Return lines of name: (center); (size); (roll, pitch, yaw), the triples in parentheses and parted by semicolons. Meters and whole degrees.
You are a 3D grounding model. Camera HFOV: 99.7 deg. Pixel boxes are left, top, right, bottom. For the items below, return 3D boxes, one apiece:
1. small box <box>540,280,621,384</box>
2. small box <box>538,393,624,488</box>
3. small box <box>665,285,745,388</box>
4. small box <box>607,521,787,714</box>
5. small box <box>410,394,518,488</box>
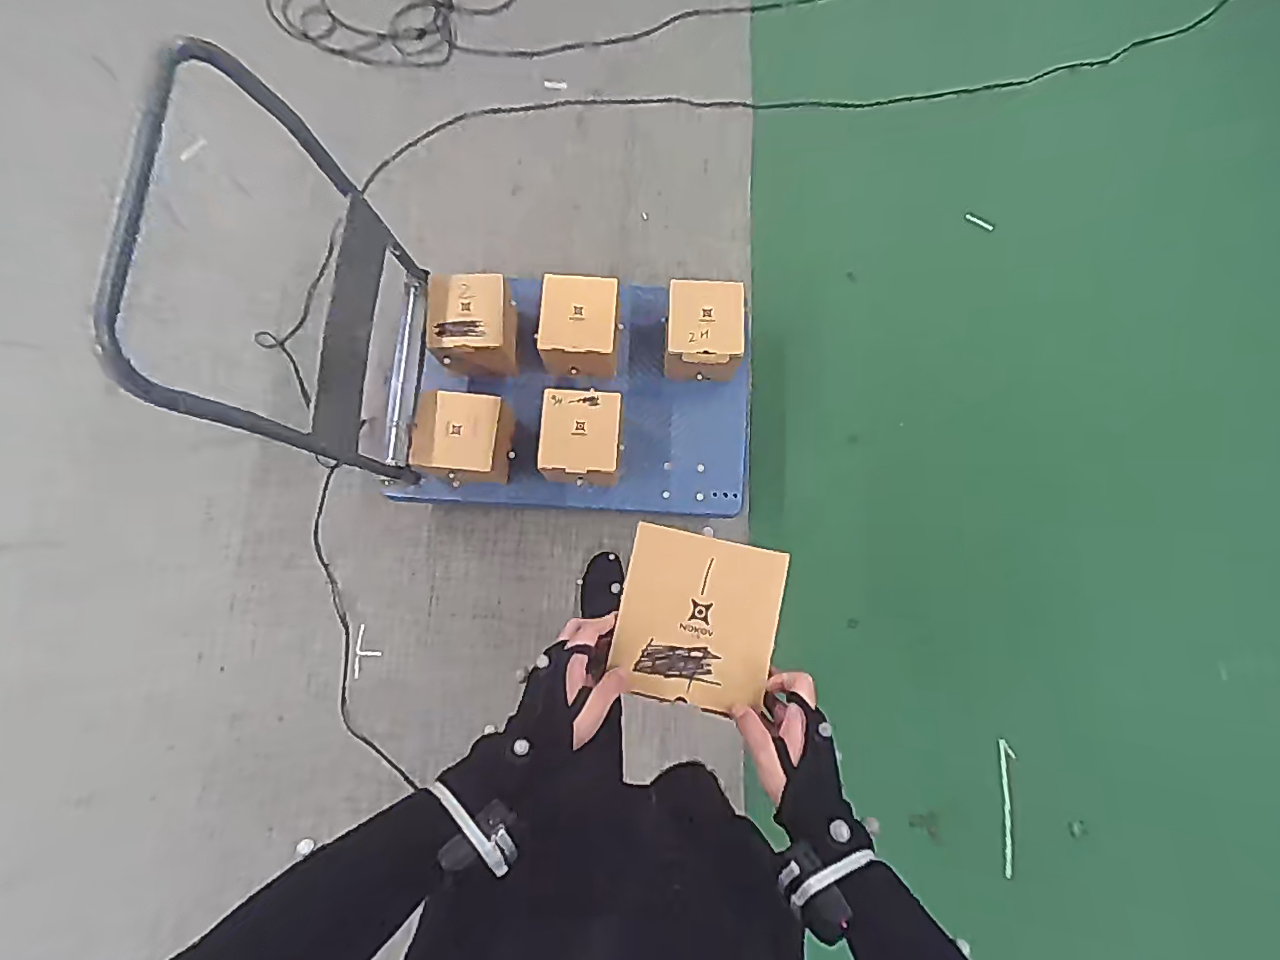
small box: (-0.133, -0.341, 1.264); (0.168, 0.176, 0.179); (4, 82, -1)
small box: (-0.126, -0.080, 1.216); (0.168, 0.176, 0.179); (5, 80, -1)
small box: (0.147, -0.330, 1.263); (0.168, 0.176, 0.179); (2, 80, 1)
small box: (0.063, 0.157, 0.661); (0.168, 0.176, 0.179); (13, 81, 0)
small box: (-0.386, -0.081, 1.213); (0.179, 0.176, 0.168); (6, 80, -1)
